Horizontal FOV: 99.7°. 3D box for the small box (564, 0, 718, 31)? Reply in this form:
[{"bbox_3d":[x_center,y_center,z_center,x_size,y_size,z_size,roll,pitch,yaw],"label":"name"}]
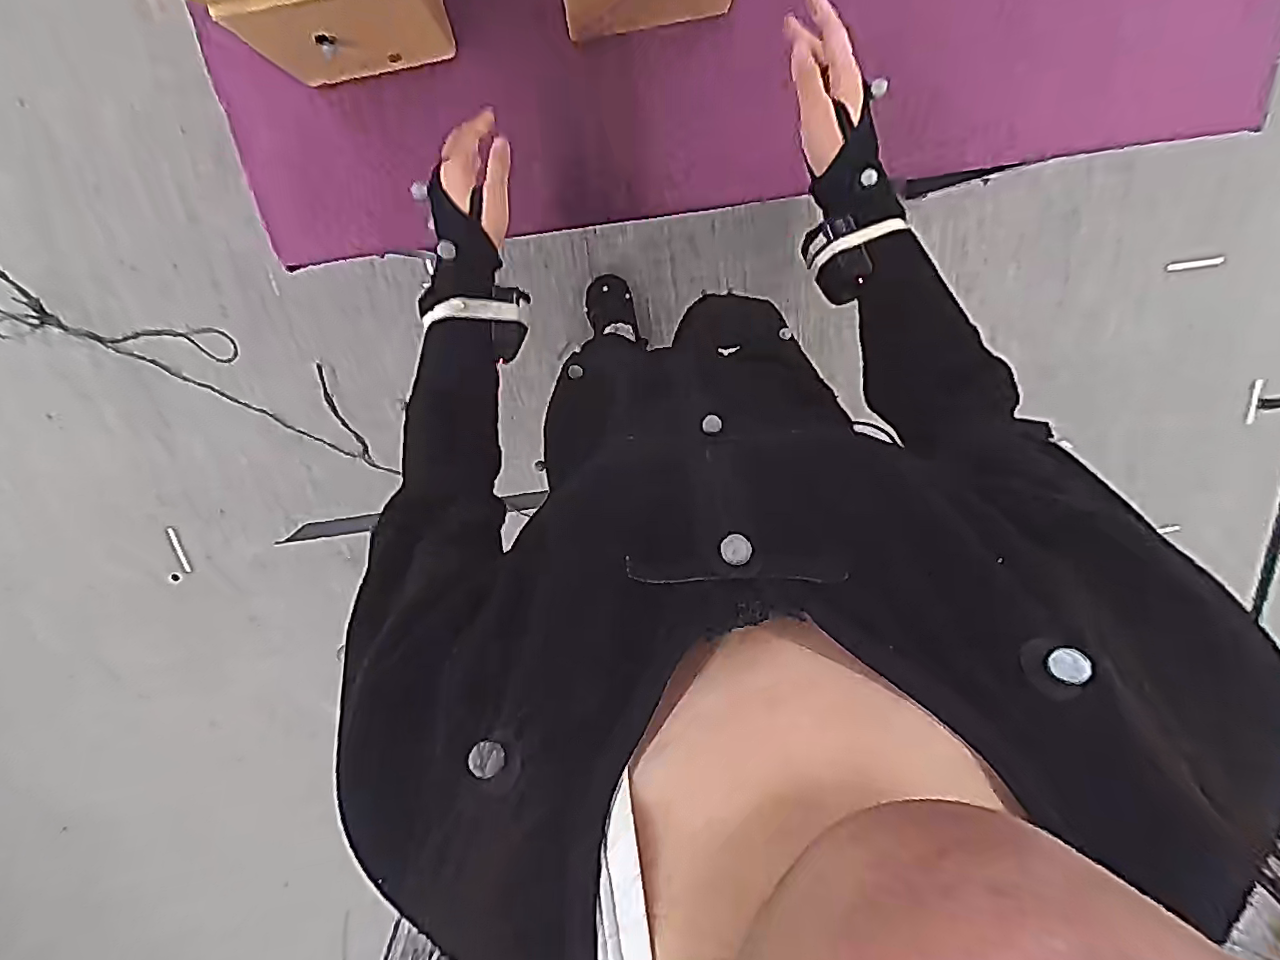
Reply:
[{"bbox_3d":[0.000,-0.548,0.488,0.179,0.176,0.168,-11,110,-1],"label":"small box"}]

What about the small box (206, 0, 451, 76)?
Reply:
[{"bbox_3d":[-0.290,-0.498,0.485,0.168,0.176,0.179,-12,109,0],"label":"small box"}]
